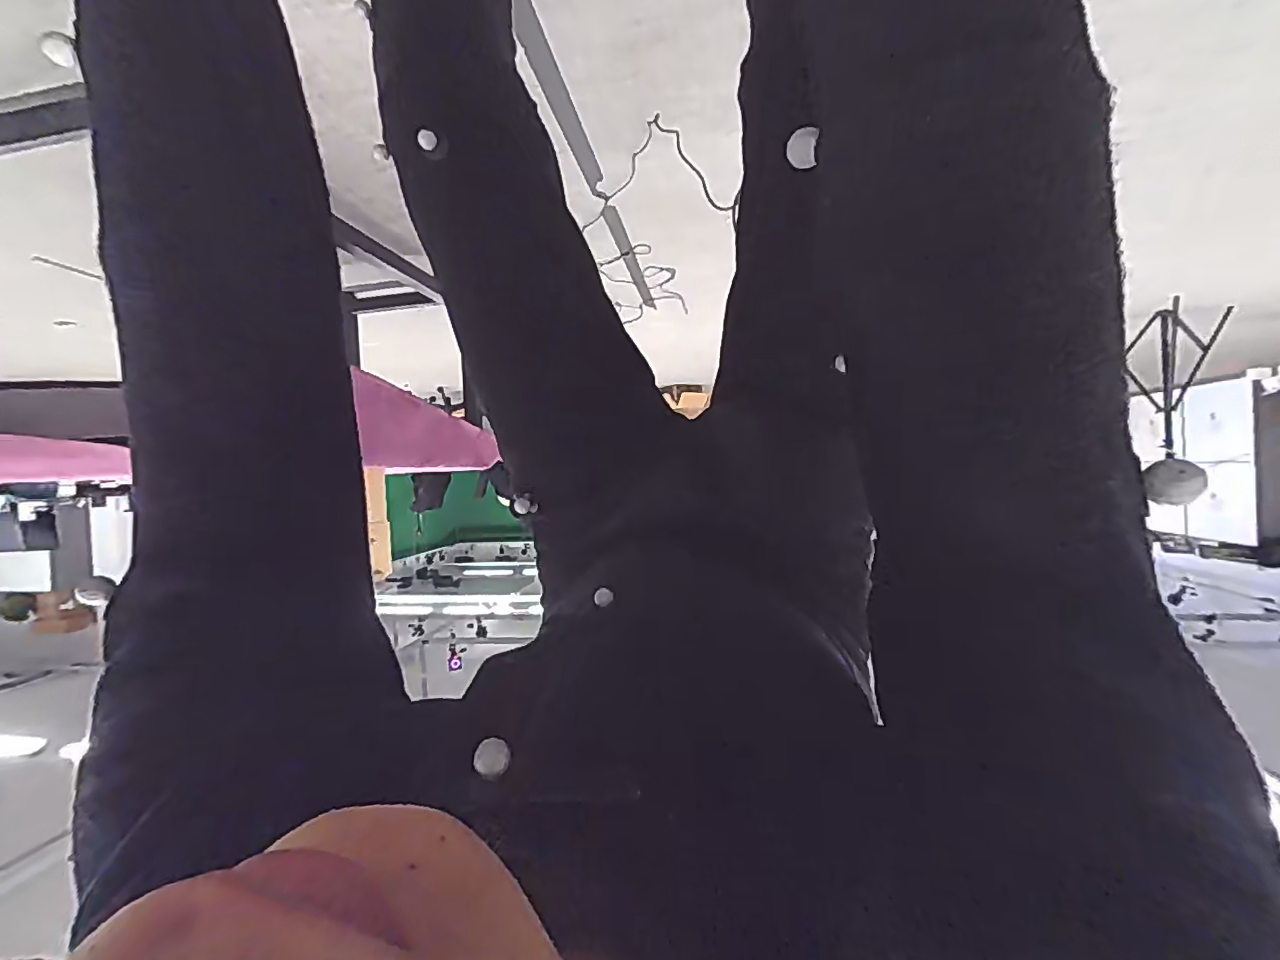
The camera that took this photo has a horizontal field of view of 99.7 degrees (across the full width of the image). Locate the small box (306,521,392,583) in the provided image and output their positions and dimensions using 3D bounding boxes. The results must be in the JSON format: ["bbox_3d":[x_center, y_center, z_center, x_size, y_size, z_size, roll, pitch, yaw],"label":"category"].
[{"bbox_3d":[-0.886,0.212,1.651,0.179,0.176,0.168,-2,-178,15],"label":"small box"}]

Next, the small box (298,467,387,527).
[{"bbox_3d":[-0.891,0.048,1.625,0.168,0.176,0.179,-2,180,20],"label":"small box"}]
